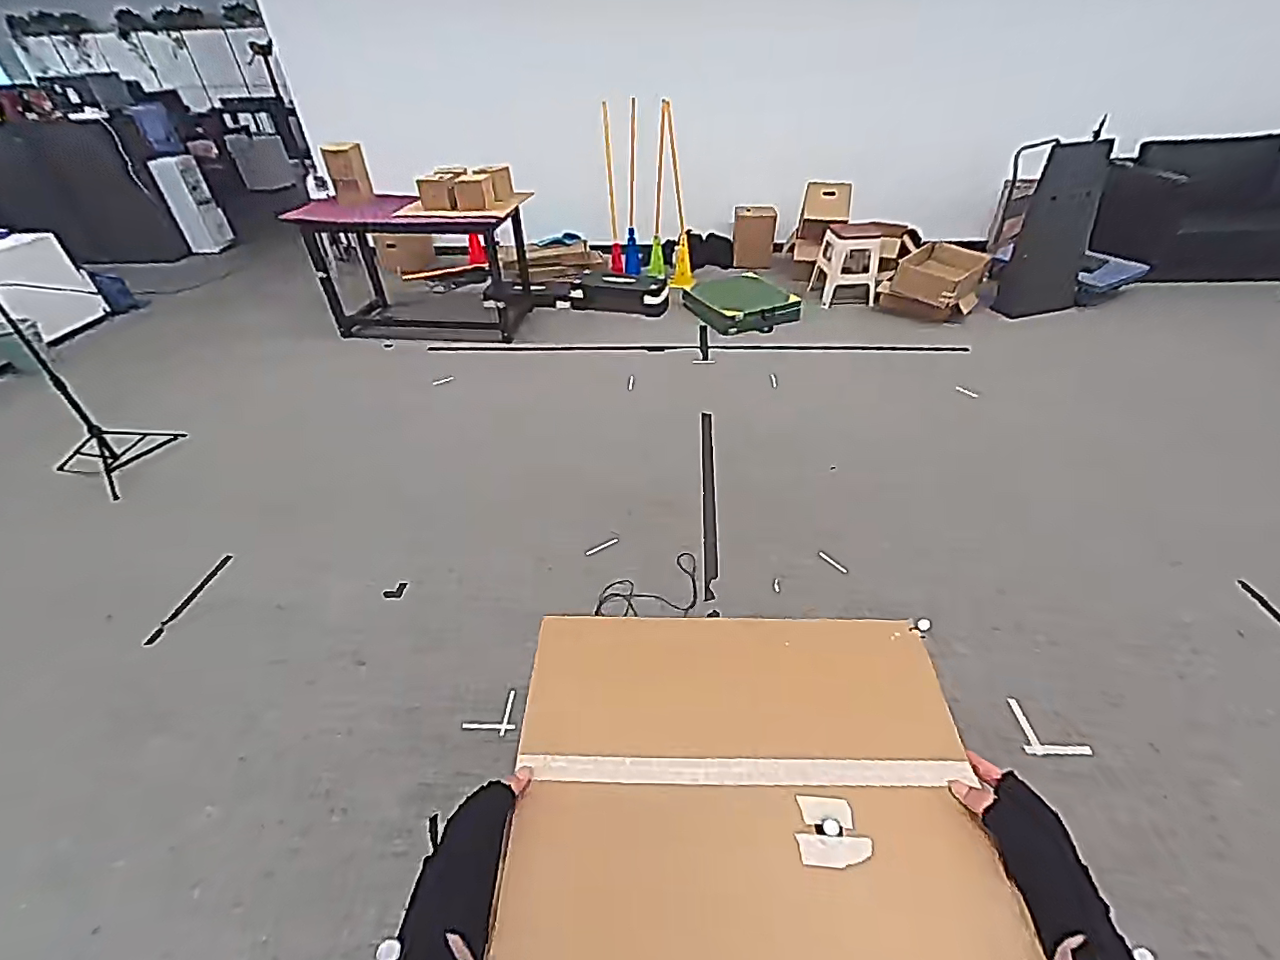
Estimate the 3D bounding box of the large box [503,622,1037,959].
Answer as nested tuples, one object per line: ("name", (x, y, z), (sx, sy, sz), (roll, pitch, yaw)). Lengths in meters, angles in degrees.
("large box", (0.099, 0.373, 0.596), (0.408, 0.320, 0.320), (0, 45, 2))
